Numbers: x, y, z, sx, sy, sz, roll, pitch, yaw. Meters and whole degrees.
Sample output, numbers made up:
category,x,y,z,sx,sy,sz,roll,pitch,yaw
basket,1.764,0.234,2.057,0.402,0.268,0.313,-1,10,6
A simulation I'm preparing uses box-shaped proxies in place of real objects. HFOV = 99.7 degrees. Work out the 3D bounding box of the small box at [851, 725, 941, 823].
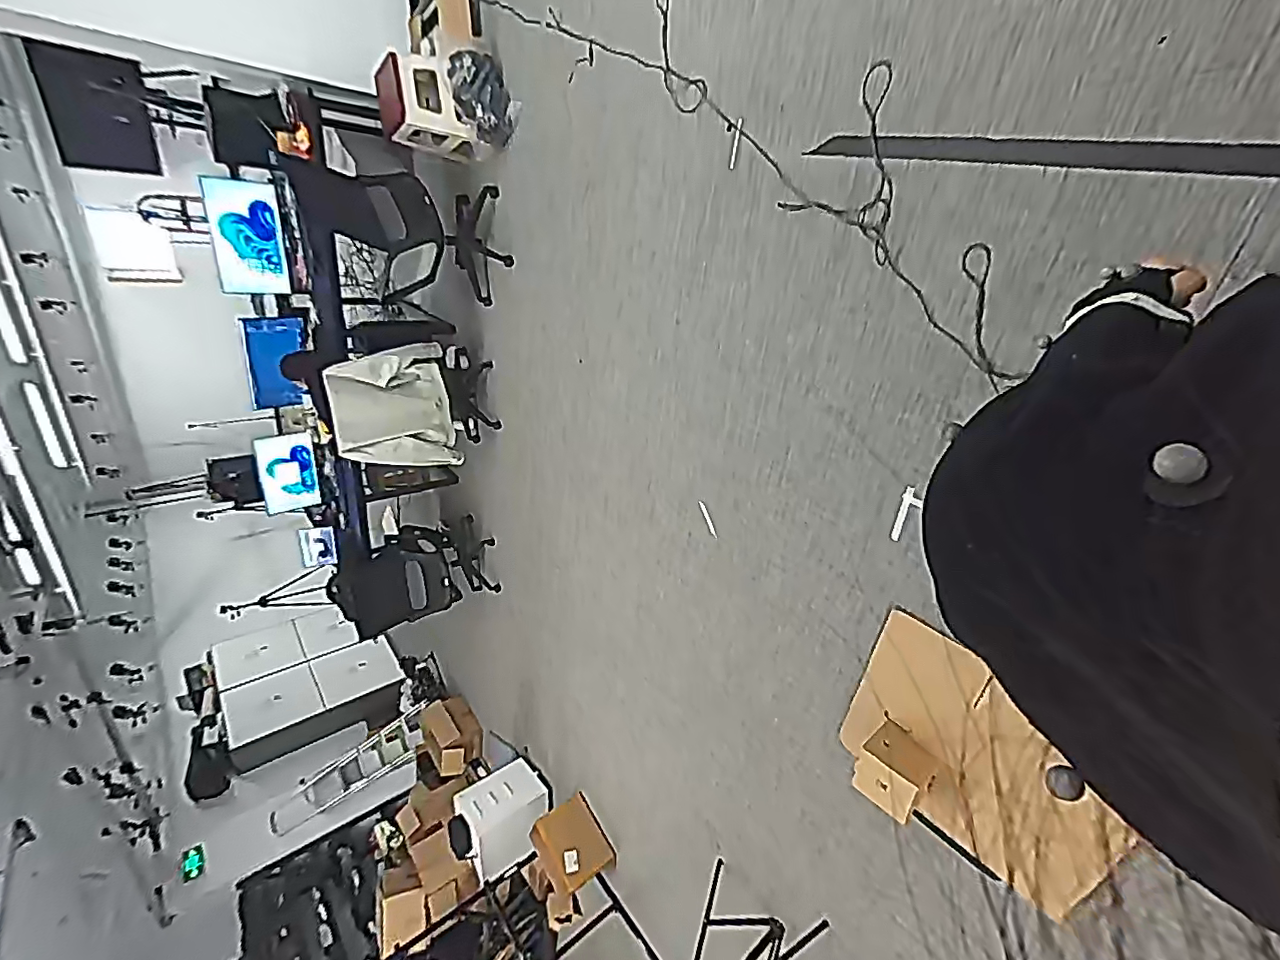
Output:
category,x,y,z,sx,sy,sz,roll,pitch,yaw
small box,0.784,0.889,1.659,0.179,0.176,0.168,26,123,43
